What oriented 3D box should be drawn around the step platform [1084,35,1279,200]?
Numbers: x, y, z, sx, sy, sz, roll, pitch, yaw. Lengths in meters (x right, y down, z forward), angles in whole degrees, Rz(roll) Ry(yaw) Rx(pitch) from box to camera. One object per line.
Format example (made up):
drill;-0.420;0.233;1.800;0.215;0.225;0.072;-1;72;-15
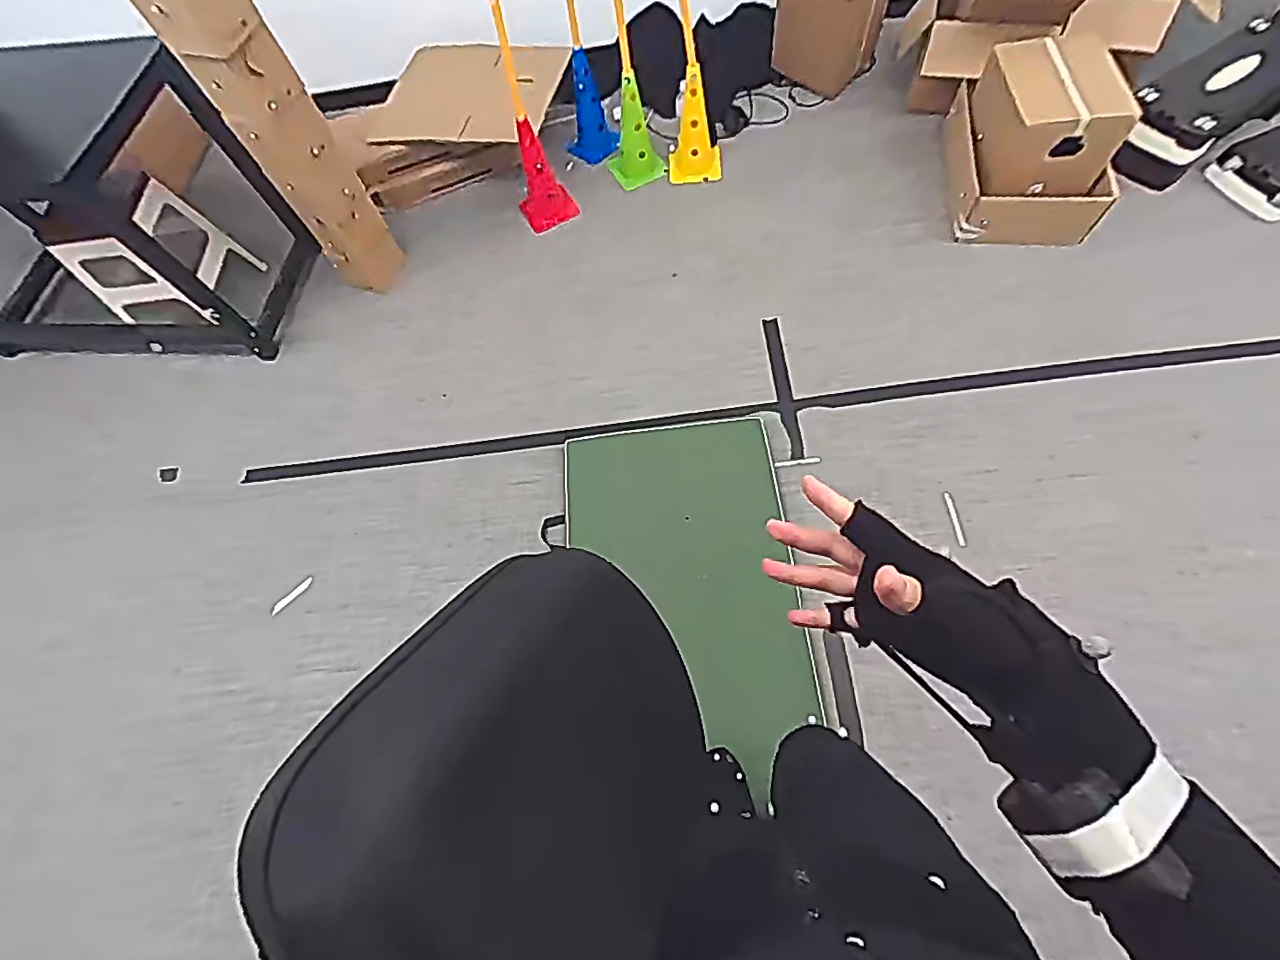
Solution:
step platform;1.937;-1.265;1.879;0.684;0.204;0.286;-33;67;-8
